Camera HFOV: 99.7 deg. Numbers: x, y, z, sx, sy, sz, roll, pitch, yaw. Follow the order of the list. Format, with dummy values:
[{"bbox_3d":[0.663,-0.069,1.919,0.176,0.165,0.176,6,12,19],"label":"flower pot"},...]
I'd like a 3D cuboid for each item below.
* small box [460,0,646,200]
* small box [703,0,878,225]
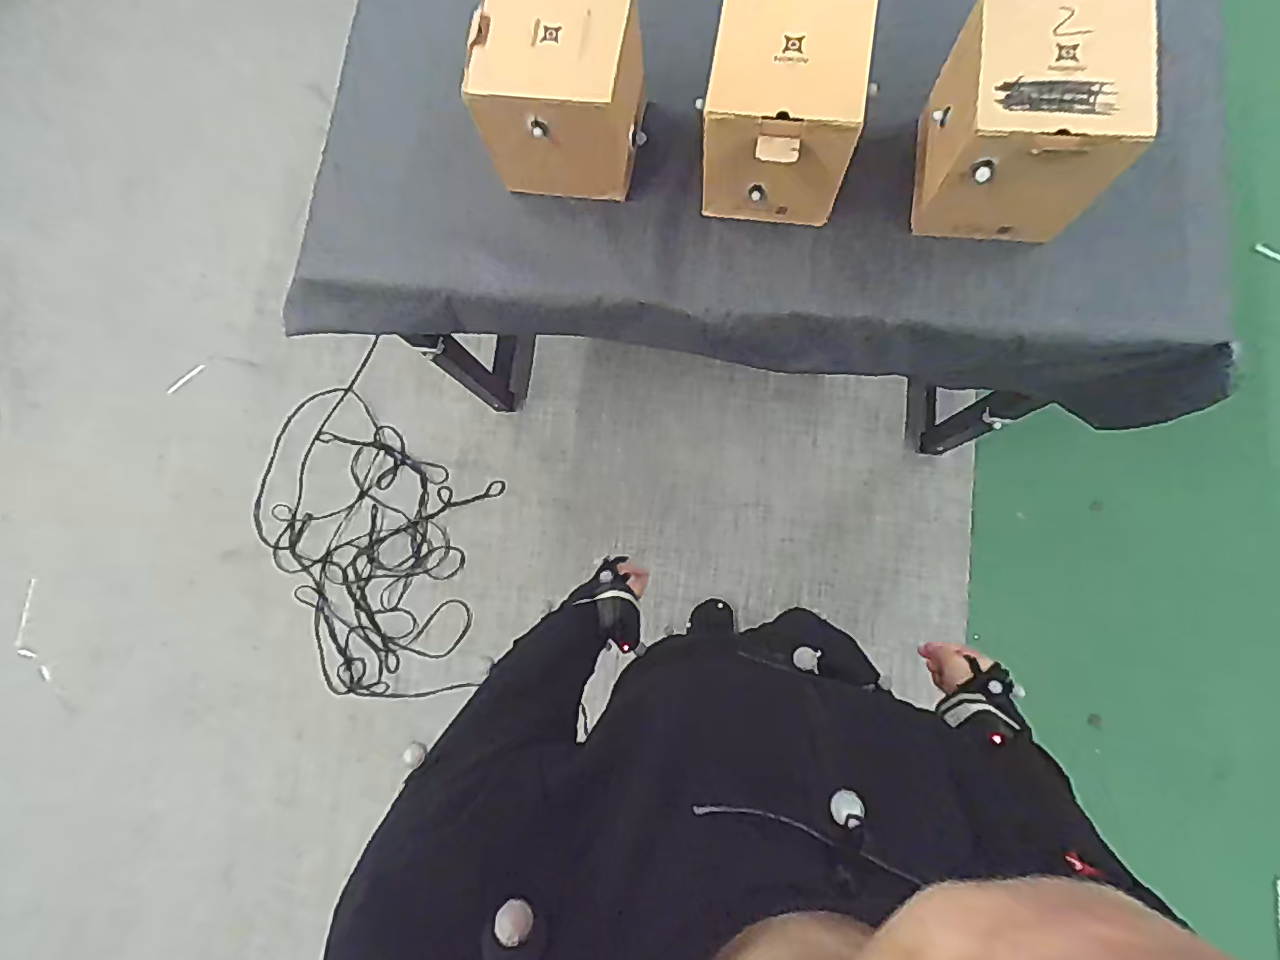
[{"bbox_3d":[-0.096,-0.485,0.685,0.179,0.176,0.168,10,82,6],"label":"small box"},{"bbox_3d":[0.169,-0.445,0.653,0.168,0.176,0.179,8,82,6],"label":"small box"}]
